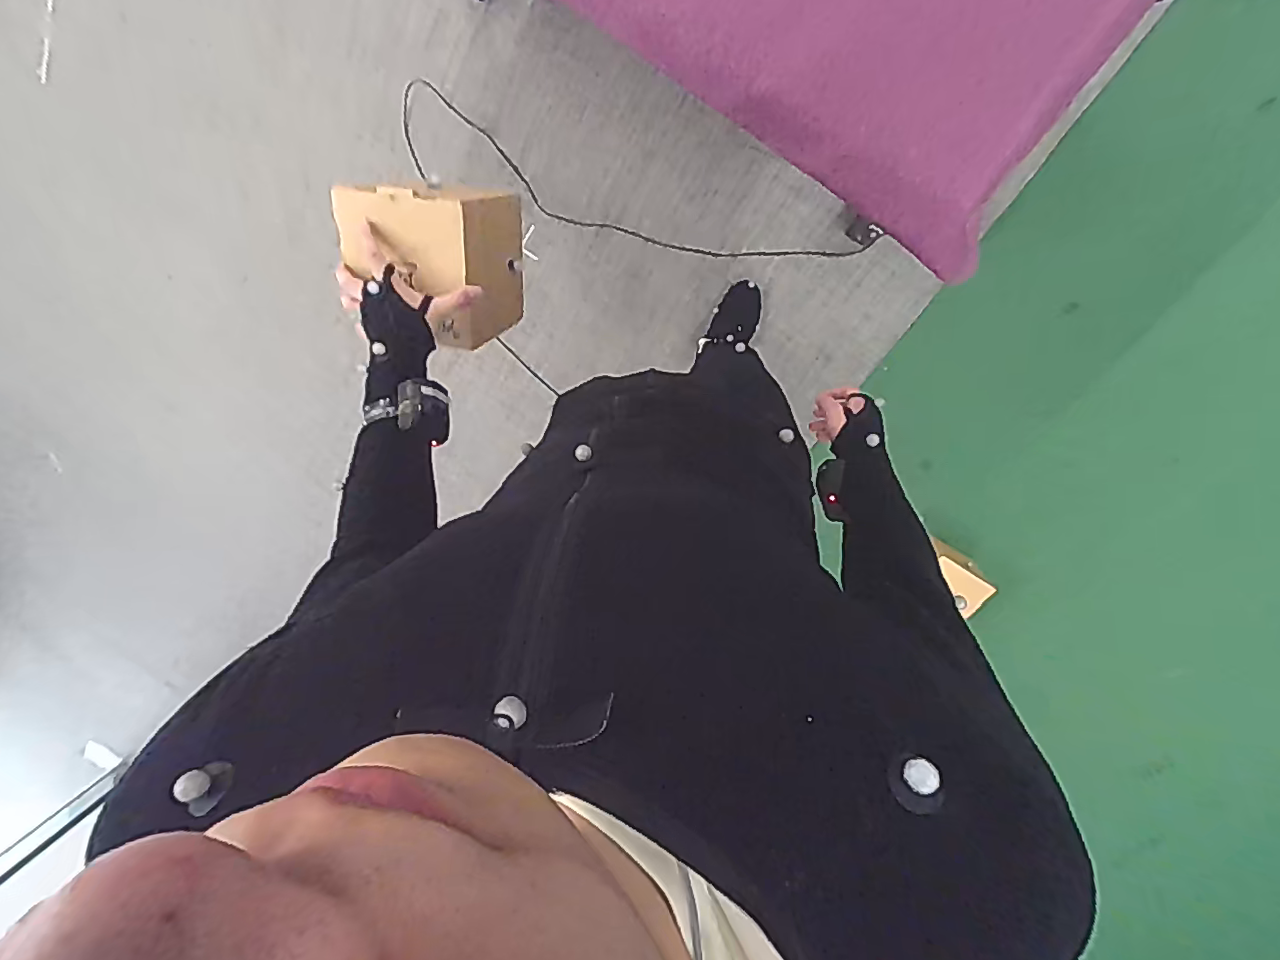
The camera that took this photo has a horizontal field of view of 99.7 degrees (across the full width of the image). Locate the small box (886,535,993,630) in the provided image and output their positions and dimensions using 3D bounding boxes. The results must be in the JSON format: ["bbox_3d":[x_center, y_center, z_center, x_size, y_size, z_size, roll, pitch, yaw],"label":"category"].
[{"bbox_3d":[0.827,0.278,1.516,0.179,0.176,0.168,32,112,-2],"label":"small box"}]

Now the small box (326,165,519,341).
[{"bbox_3d":[-0.268,-0.304,0.710,0.168,0.176,0.179,13,123,8],"label":"small box"}]
